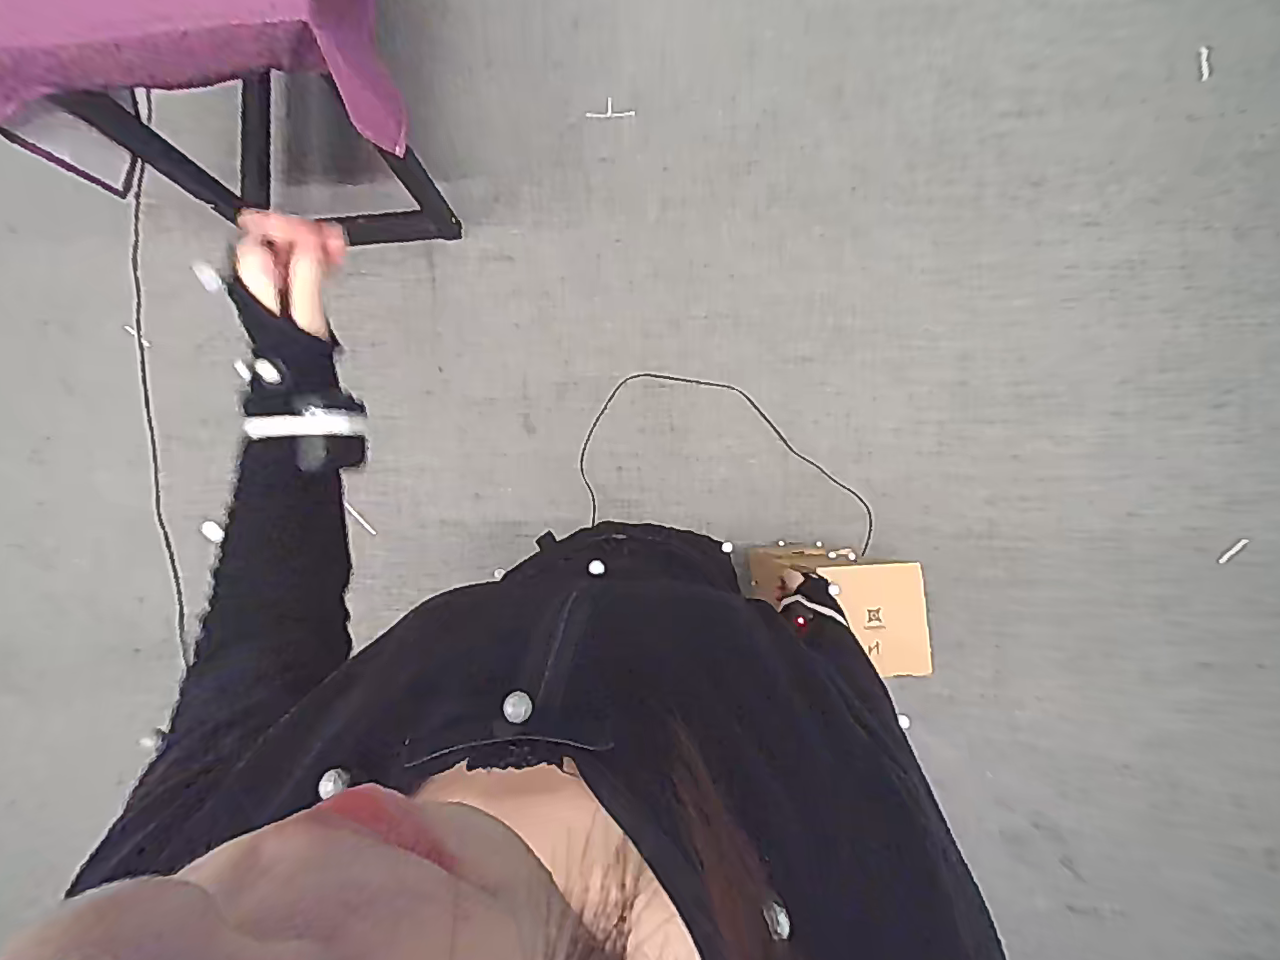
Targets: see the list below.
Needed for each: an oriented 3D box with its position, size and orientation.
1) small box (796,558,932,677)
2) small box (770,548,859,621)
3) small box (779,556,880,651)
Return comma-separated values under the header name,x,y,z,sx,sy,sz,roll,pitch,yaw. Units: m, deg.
name,x,y,z,sx,sy,sz,roll,pitch,yaw
small box,0.370,0.224,0.922,0.168,0.176,0.179,-3,85,3
small box,0.402,0.248,1.248,0.168,0.176,0.179,-4,86,3
small box,0.381,0.241,1.086,0.179,0.176,0.168,-4,85,2
